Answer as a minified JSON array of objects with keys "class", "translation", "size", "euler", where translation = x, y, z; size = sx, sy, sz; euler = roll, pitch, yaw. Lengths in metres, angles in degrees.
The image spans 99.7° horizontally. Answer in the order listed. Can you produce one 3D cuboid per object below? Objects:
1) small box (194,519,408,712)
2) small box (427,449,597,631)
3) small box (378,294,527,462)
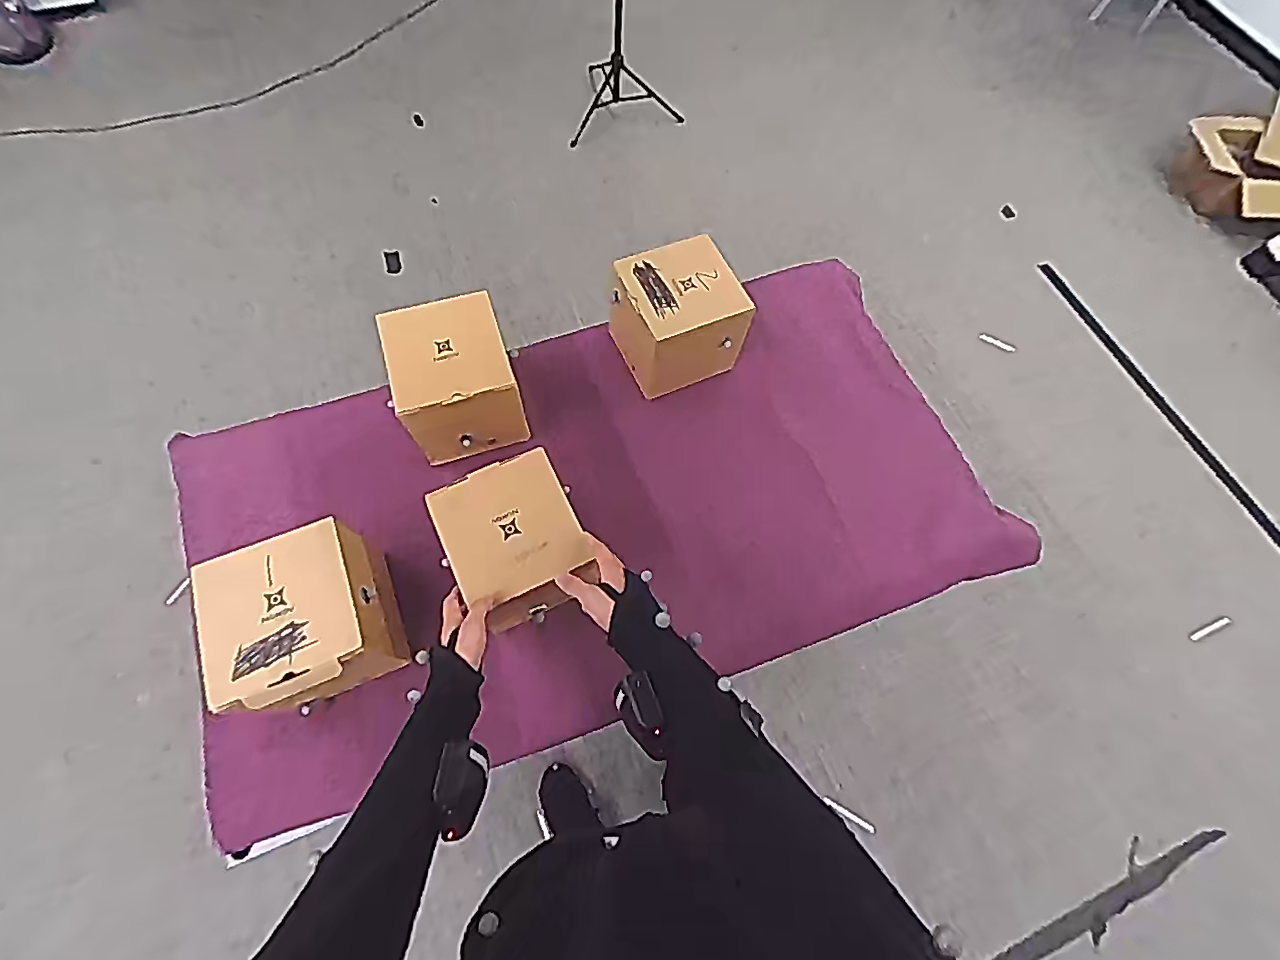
[{"class":"small box","translation":[-0.423,0.179,0.699],"size":[0.168,0.176,0.179],"euler":[-21,69,-12]},{"class":"small box","translation":[-0.169,0.090,0.755],"size":[0.168,0.176,0.179],"euler":[-24,71,-12]},{"class":"small box","translation":[-0.284,-0.153,0.843],"size":[0.168,0.176,0.179],"euler":[-17,70,-11]}]
